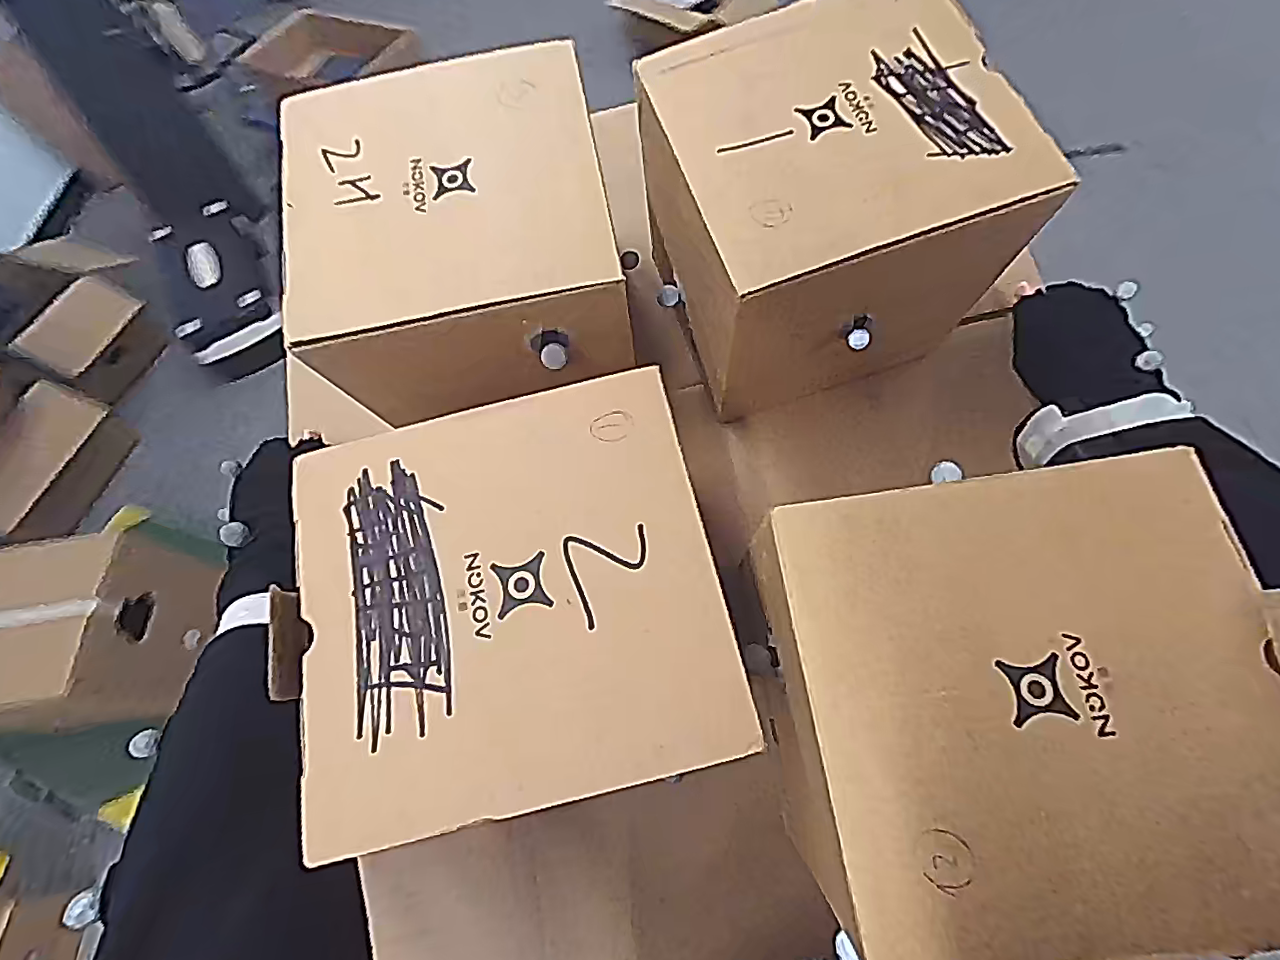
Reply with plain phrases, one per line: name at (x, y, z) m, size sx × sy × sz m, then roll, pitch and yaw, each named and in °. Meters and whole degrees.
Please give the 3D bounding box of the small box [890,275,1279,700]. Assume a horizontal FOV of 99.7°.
small box at (0.248, 0.014, 0.279) m, size 0.179 × 0.176 × 0.168 m, roll 5°, pitch 79°, yaw 6°
